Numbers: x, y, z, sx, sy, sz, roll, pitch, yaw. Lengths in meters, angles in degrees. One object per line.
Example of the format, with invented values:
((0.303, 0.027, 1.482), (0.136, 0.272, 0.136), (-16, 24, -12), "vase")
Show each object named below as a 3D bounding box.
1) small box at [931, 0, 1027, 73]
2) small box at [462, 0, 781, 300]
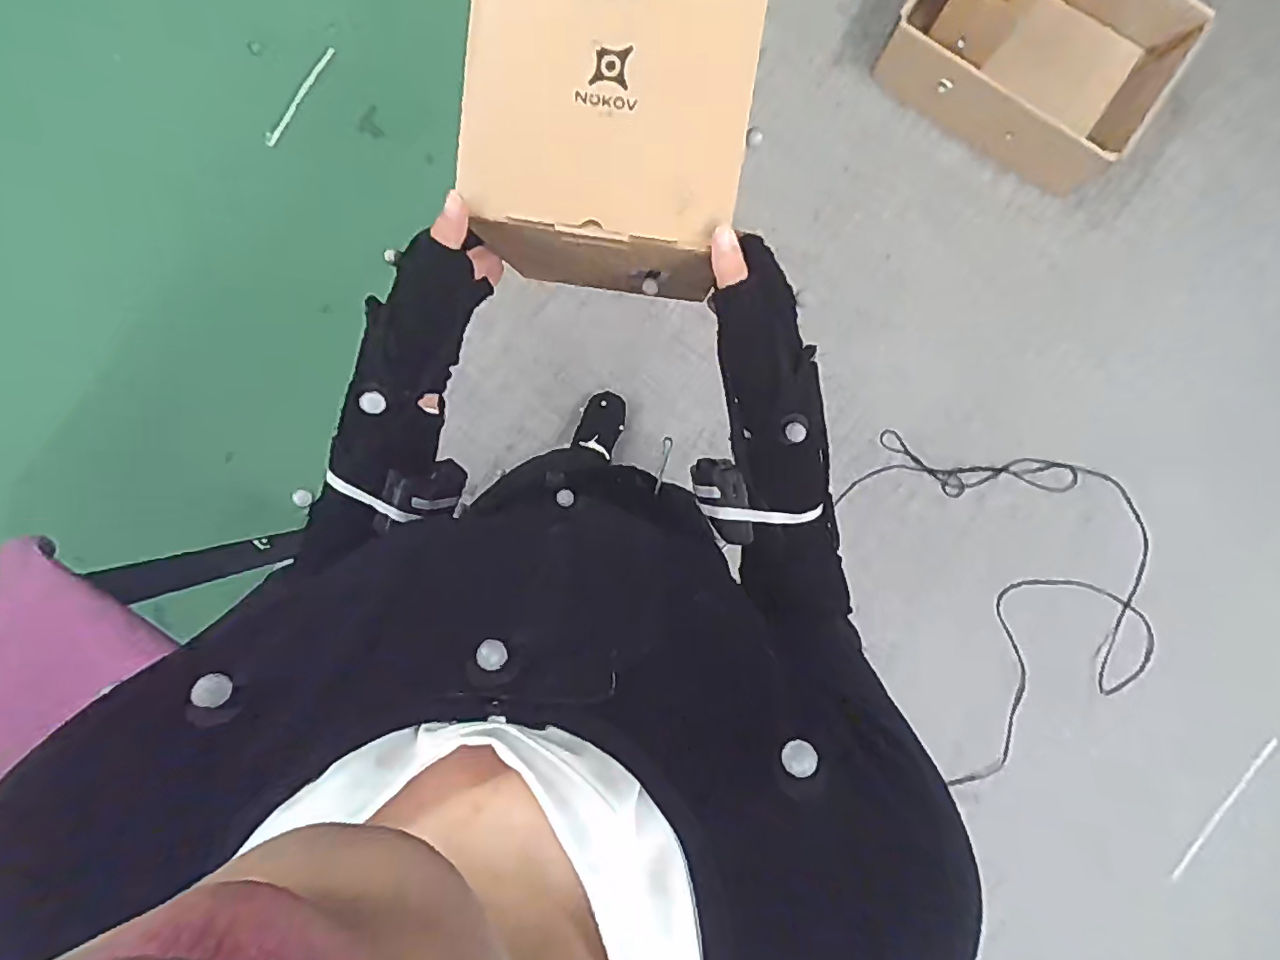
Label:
((0.836, -1.135, 1.282), (0.168, 0.176, 0.179), (35, 92, -1), "small box")
((-0.010, -0.237, 0.384), (0.168, 0.176, 0.179), (10, 99, 0), "small box")
